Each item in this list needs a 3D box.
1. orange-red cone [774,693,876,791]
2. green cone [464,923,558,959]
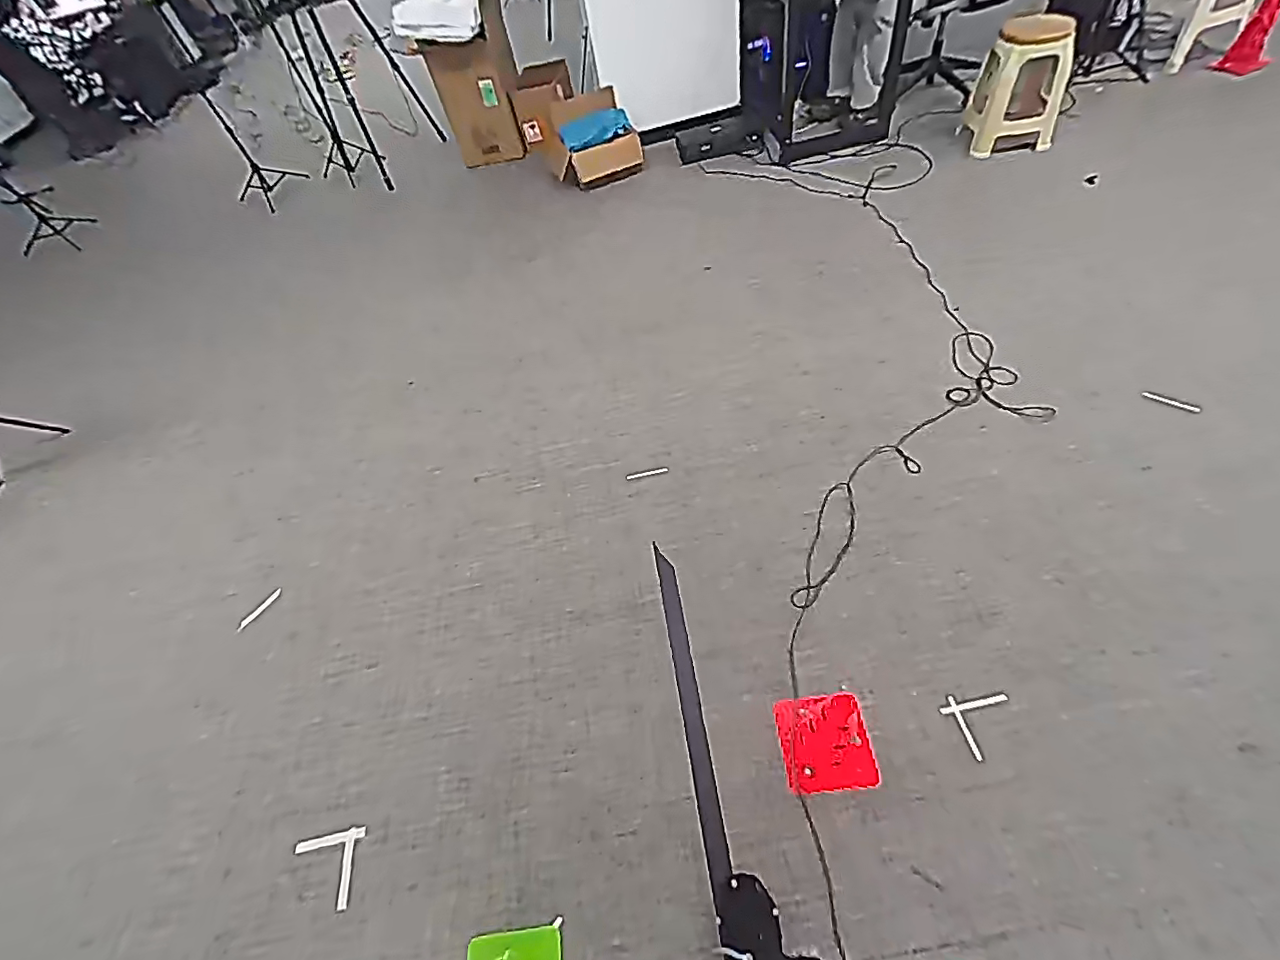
[{"bbox_3d":[0.393,0.499,1.103,0.199,0.360,0.198,-7,54,5],"label":"orange-red cone"},{"bbox_3d":[-0.289,0.911,0.933,0.202,0.368,0.200,-12,52,4],"label":"green cone"}]
